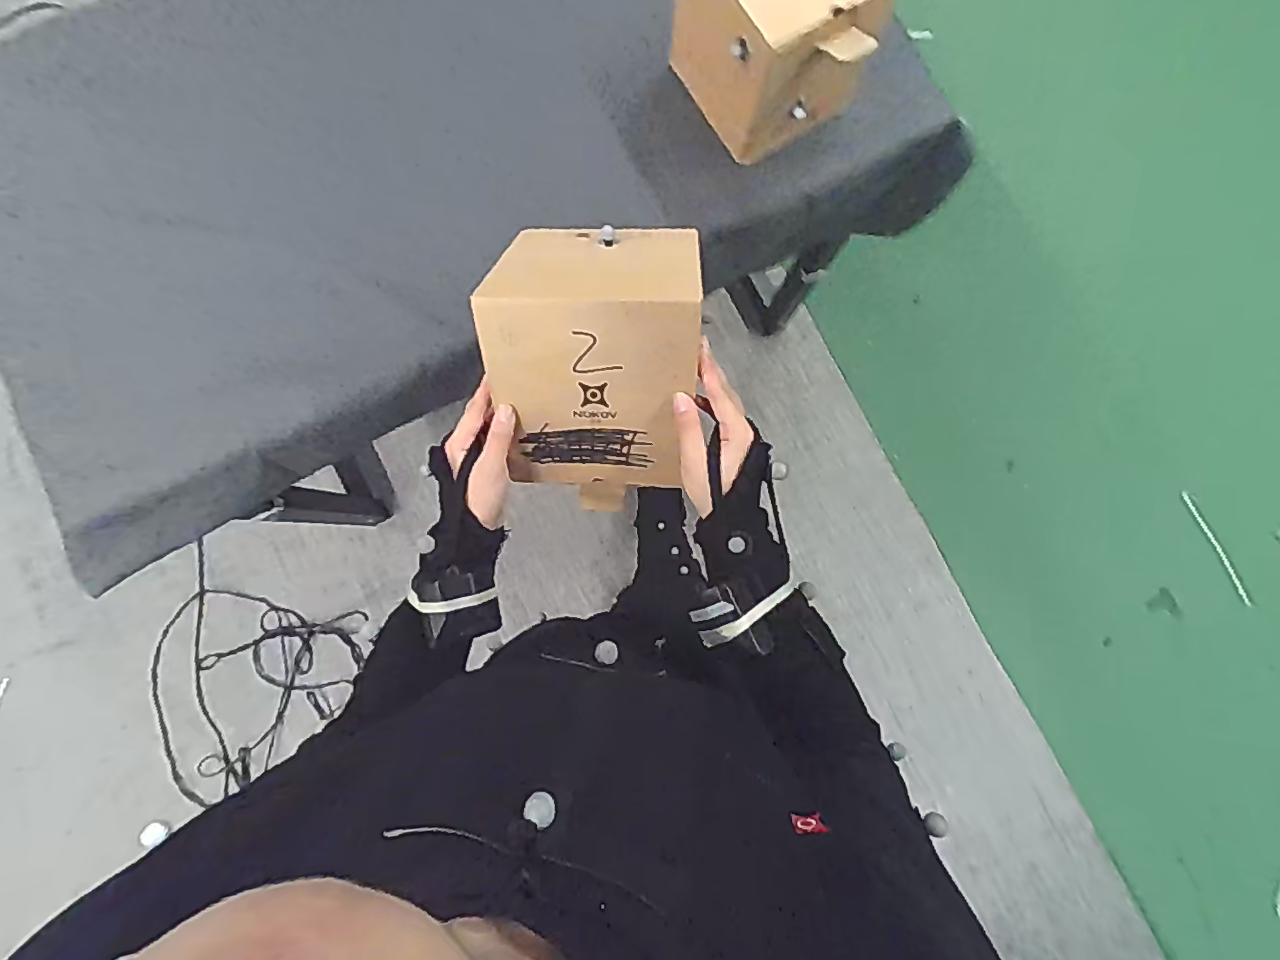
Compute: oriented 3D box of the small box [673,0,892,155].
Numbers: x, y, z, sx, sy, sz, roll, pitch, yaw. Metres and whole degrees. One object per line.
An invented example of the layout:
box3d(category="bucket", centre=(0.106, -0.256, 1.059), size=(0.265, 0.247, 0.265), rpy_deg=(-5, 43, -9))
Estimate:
box3d(category="small box", centre=(0.152, -0.531, 0.625), size=(0.168, 0.176, 0.179), rpy_deg=(-31, 86, -4))
